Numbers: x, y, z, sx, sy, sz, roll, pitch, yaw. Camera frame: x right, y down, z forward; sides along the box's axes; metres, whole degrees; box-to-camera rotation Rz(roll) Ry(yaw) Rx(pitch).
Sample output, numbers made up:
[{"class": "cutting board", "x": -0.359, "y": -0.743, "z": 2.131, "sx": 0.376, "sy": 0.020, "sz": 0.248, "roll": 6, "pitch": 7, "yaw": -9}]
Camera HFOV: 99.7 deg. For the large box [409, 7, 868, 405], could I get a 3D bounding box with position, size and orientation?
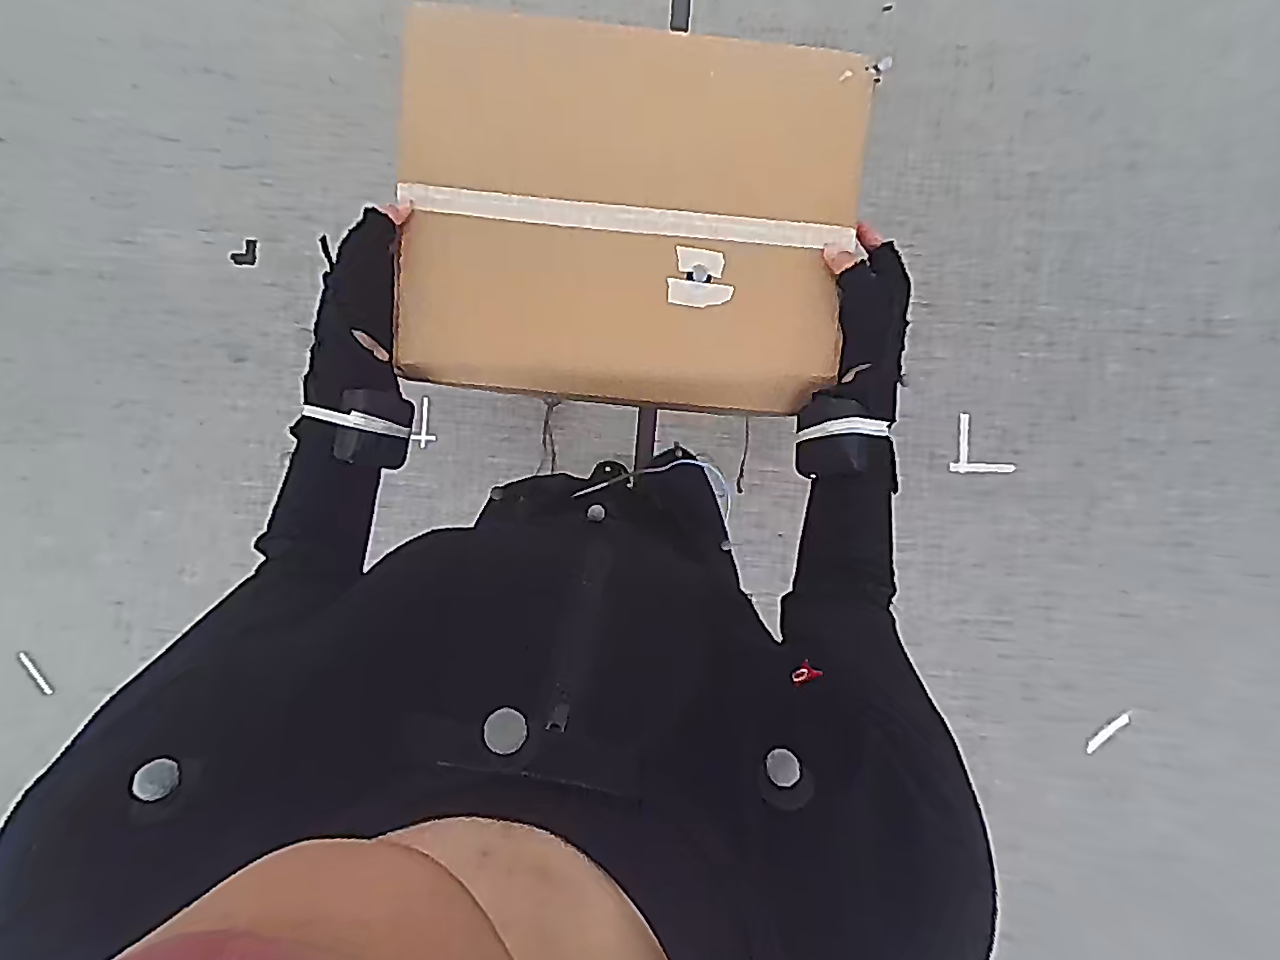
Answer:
[{"class": "large box", "x": -0.012, "y": -0.260, "z": 0.638, "sx": 0.408, "sy": 0.320, "sz": 0.320, "roll": 5, "pitch": 98, "yaw": -3}]
